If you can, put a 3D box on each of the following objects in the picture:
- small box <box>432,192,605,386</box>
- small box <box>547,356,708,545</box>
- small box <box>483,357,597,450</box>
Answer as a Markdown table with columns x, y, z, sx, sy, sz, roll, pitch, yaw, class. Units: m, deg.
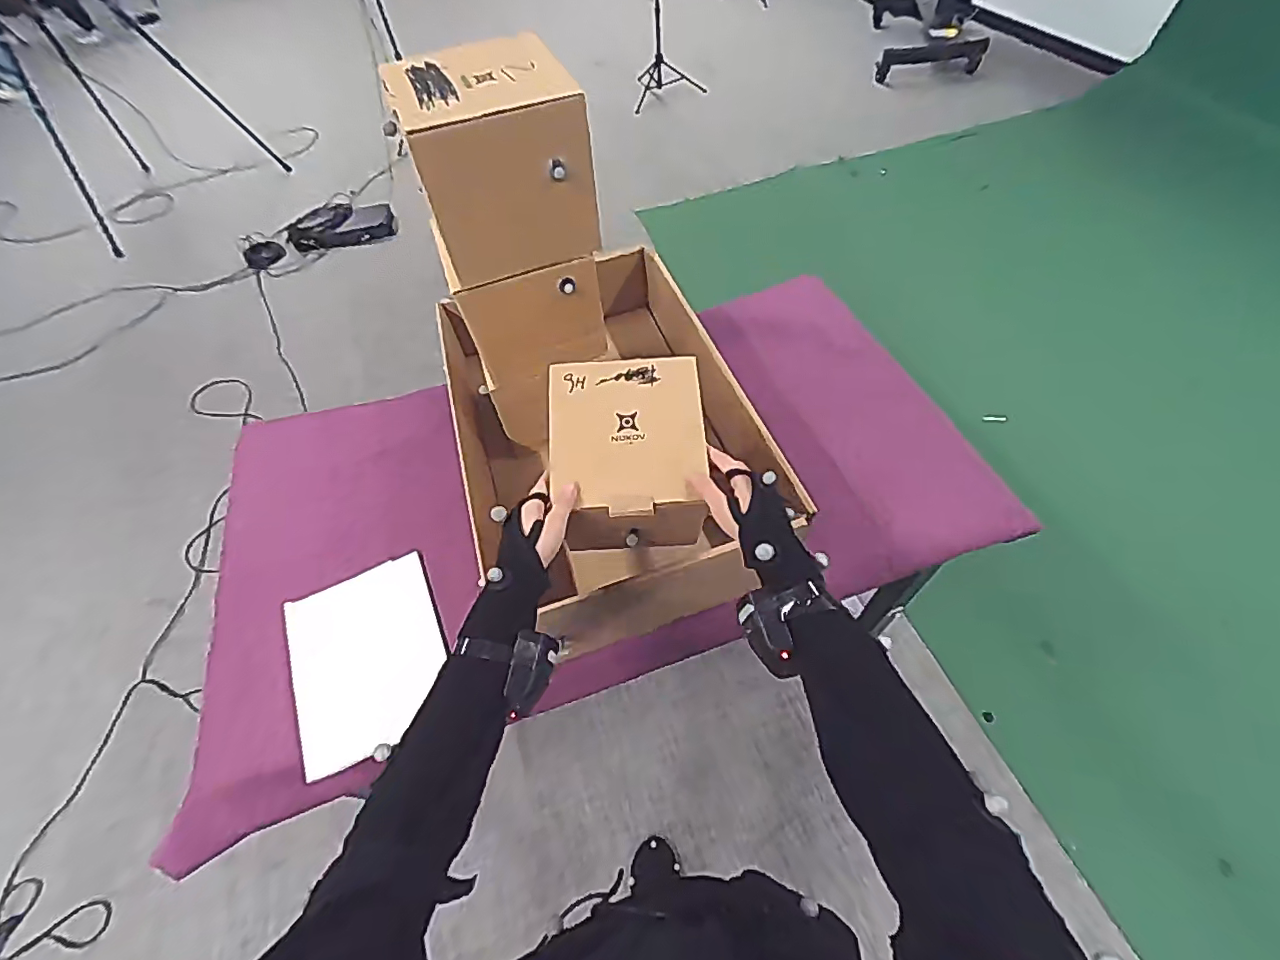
| x | y | z | sx | sy | sz | roll | pitch | yaw | class |
| --- | --- | --- | --- | --- | --- | --- | --- | --- | --- |
| -0.161 | -0.256 | 0.745 | 0.179 | 0.176 | 0.168 | -19 | 58 | -9 | small box |
| -0.015 | -0.024 | 0.642 | 0.168 | 0.176 | 0.179 | -4 | 70 | -1 | small box |
| -0.157 | -0.168 | 0.880 | 0.168 | 0.176 | 0.179 | -17 | 58 | -7 | small box |
